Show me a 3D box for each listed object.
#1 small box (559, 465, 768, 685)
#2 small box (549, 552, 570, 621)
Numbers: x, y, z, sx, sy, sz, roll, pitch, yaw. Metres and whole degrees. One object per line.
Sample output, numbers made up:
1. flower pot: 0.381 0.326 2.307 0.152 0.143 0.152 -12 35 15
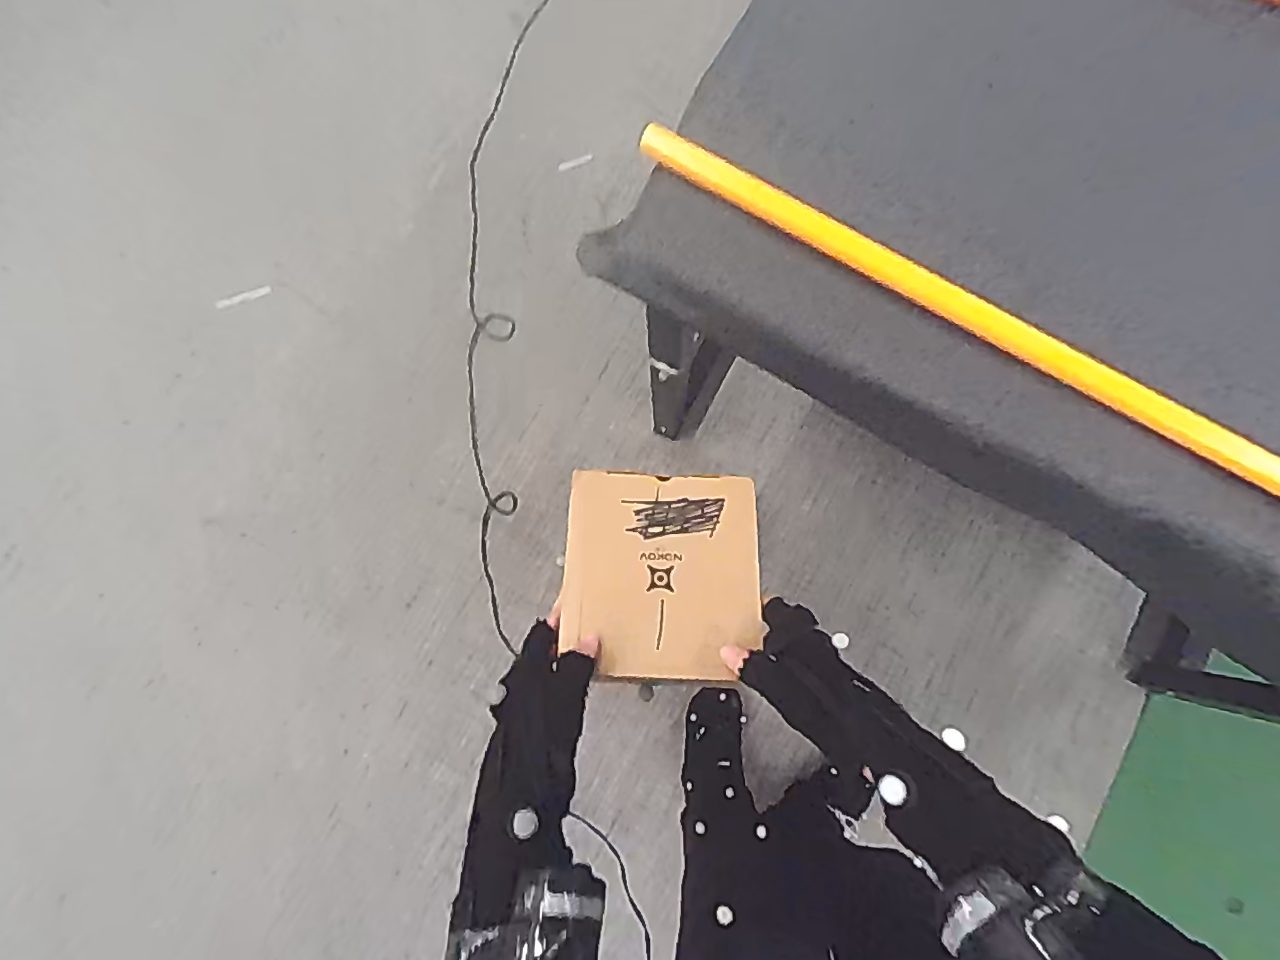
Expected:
1. small box: 0.019 0.100 0.521 0.168 0.176 0.179 2 69 -1
2. small box: -0.041 0.177 0.961 0.168 0.176 0.179 17 82 6
